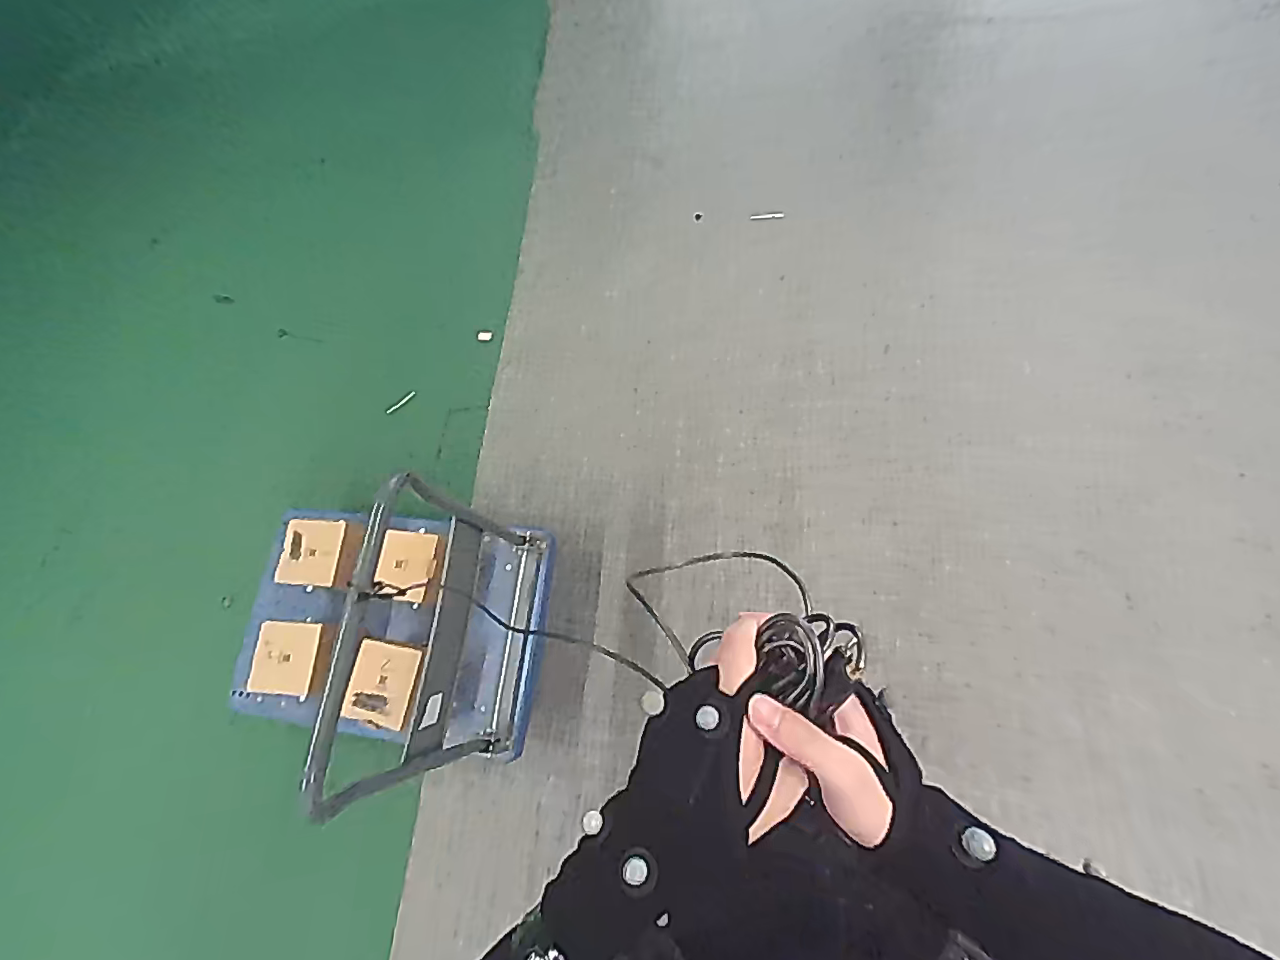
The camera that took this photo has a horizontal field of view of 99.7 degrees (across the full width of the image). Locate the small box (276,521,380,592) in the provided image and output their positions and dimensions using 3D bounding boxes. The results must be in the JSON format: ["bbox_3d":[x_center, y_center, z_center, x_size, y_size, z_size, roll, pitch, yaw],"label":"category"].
[{"bbox_3d":[-0.821,0.210,1.455,0.179,0.176,0.168,1,74,12],"label":"small box"}]

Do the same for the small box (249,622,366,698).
[{"bbox_3d":[-0.840,0.457,1.384,0.179,0.176,0.168,0,72,12],"label":"small box"}]

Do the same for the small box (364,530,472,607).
[{"bbox_3d":[-0.564,0.233,1.394,0.179,0.176,0.168,4,74,13],"label":"small box"}]
